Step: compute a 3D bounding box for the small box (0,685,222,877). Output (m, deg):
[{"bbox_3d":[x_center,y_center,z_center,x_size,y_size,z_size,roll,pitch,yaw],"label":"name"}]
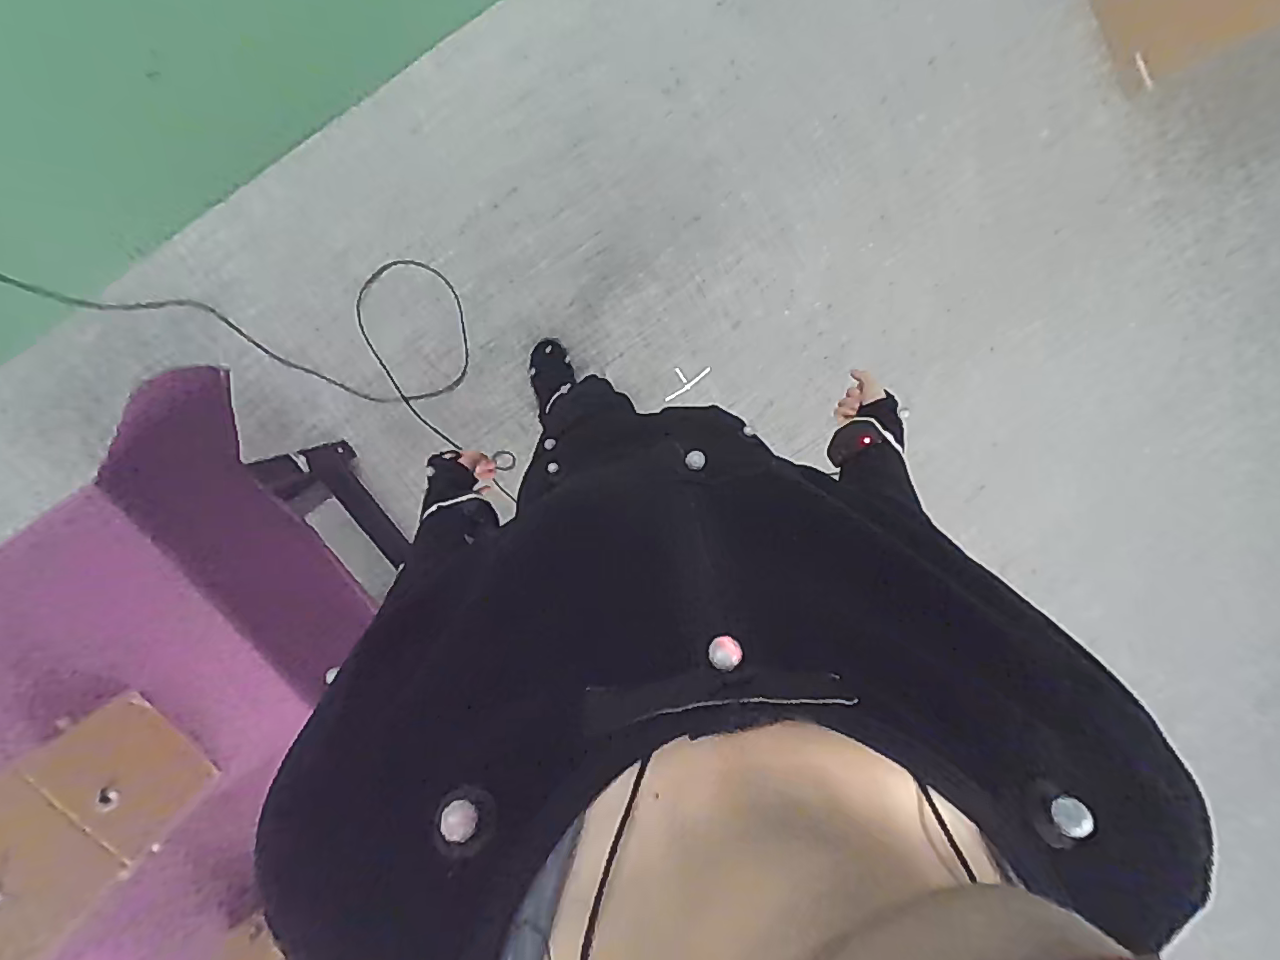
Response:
[{"bbox_3d":[-0.704,0.406,0.695,0.168,0.176,0.179,-34,101,1],"label":"small box"}]
